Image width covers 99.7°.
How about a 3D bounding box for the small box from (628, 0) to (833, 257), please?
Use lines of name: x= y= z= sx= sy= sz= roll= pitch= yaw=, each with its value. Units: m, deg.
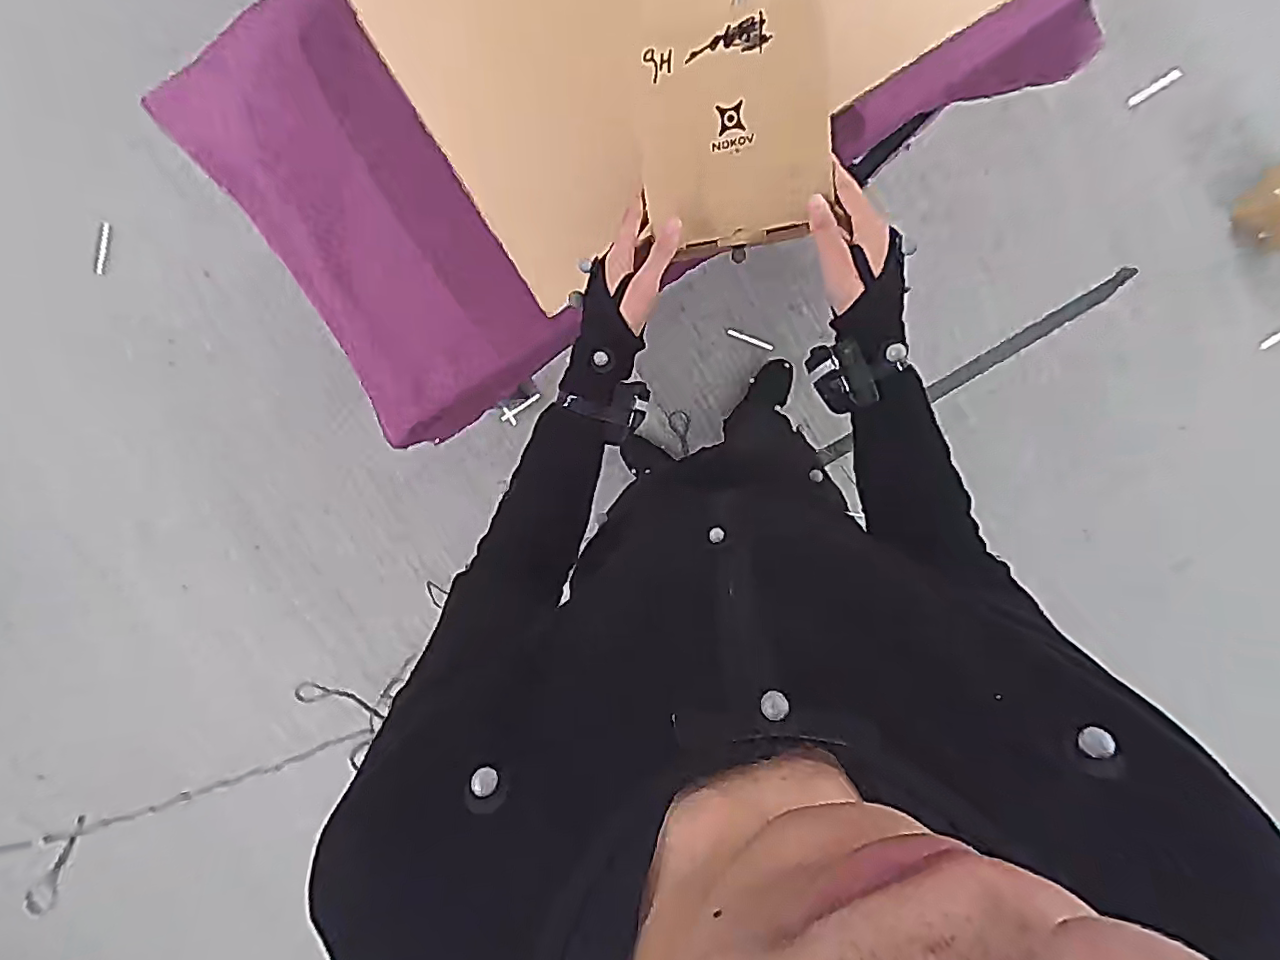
small box: x=0.093 y=-0.329 z=0.546 sx=0.168 sy=0.176 sz=0.179 roll=-7 pitch=108 yaw=10
